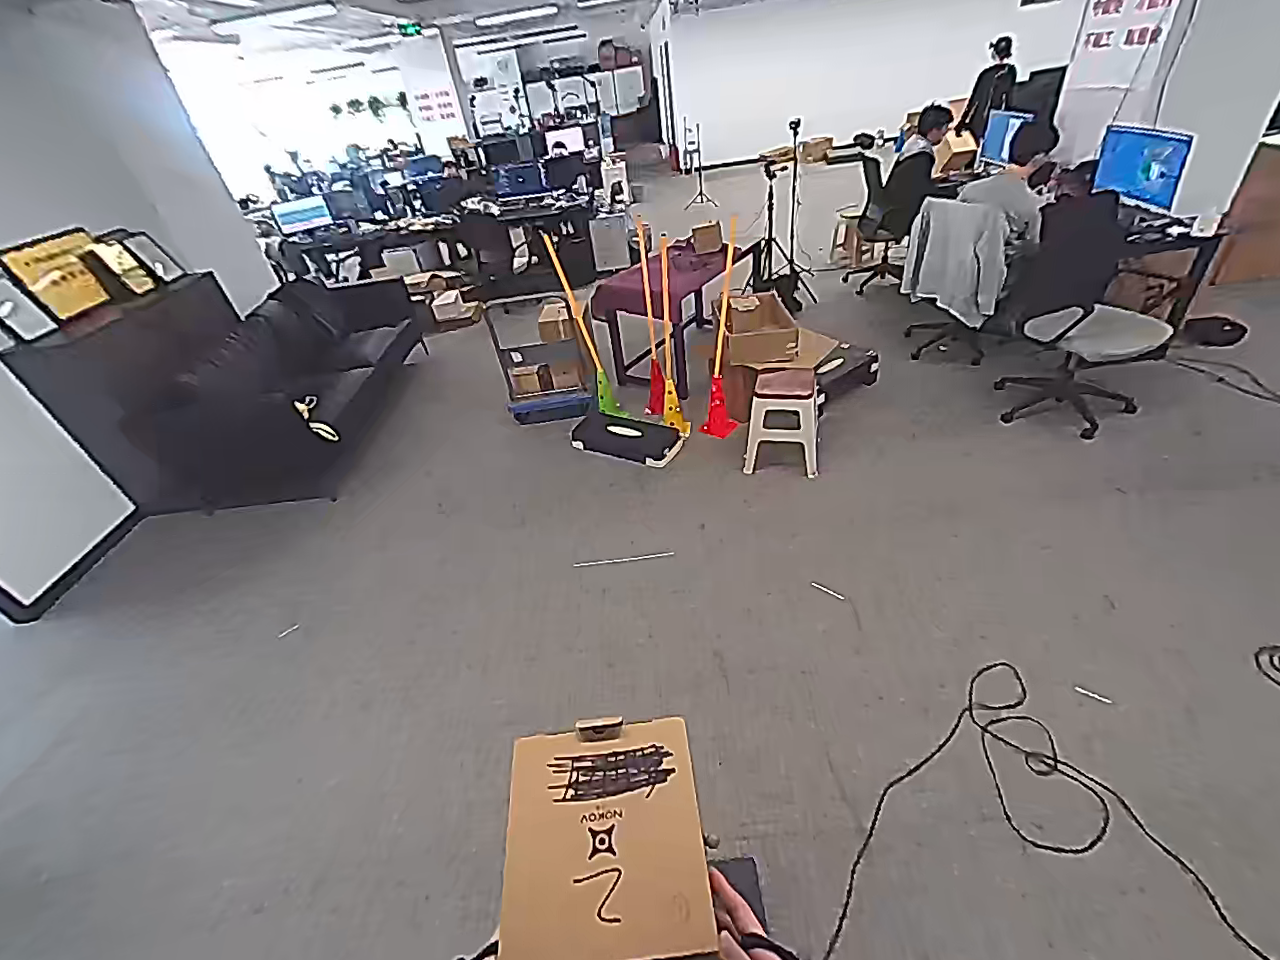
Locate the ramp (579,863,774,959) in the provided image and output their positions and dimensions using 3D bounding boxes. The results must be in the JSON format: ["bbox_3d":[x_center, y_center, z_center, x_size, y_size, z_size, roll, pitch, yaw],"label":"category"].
[{"bbox_3d":[0.088,1.330,1.083,0.509,0.206,0.991,-9,36,2],"label":"ramp"}]
